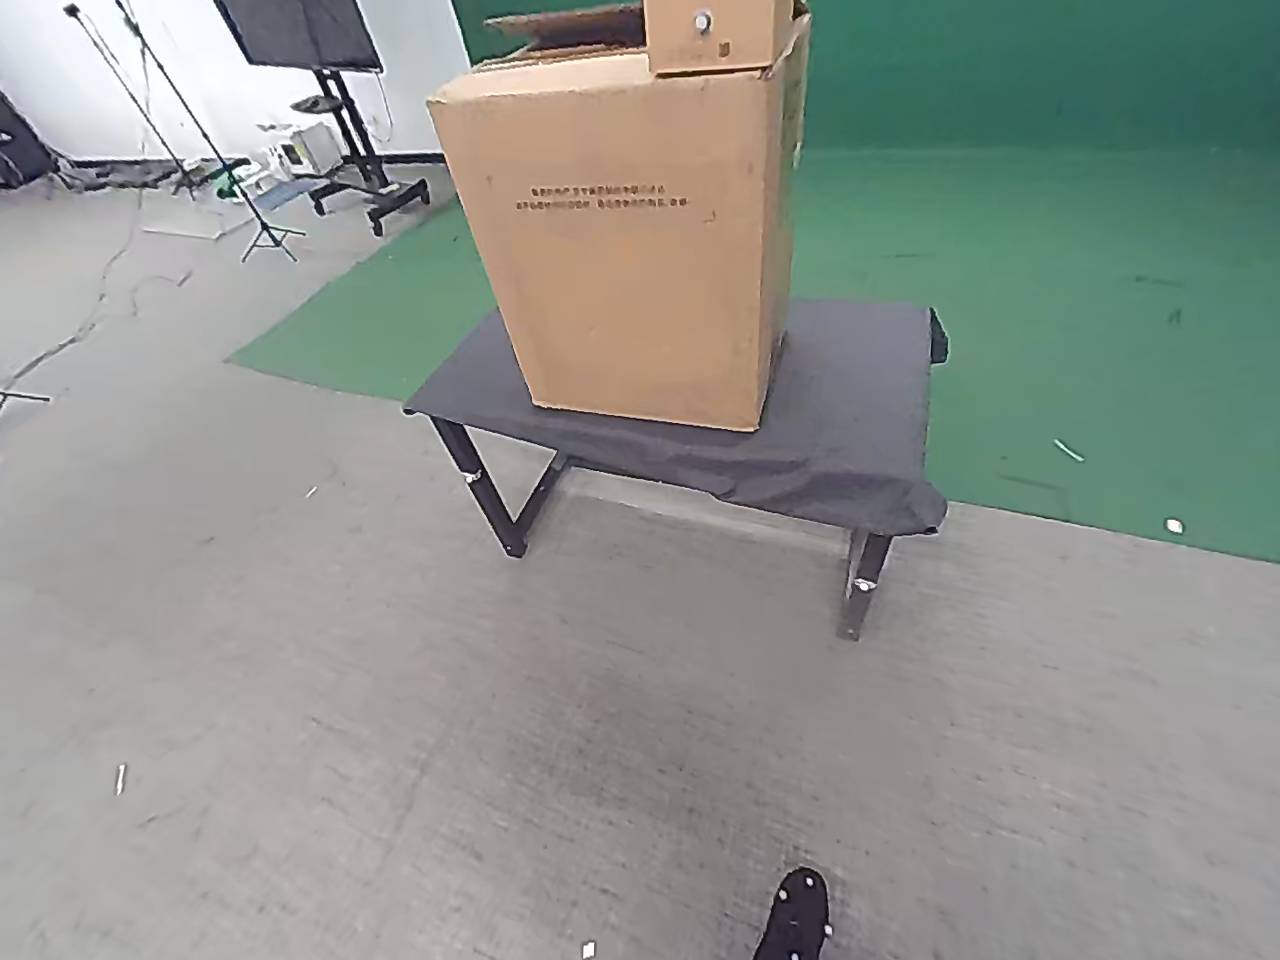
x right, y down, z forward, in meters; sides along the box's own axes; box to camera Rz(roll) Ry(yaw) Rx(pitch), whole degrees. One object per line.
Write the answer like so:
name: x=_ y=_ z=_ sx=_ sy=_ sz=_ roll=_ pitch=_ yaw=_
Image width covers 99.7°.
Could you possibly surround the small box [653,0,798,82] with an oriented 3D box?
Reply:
small box: x=0.113 y=-0.639 z=0.699 sx=0.168 sy=0.176 sz=0.179 roll=10 pitch=52 yaw=17
